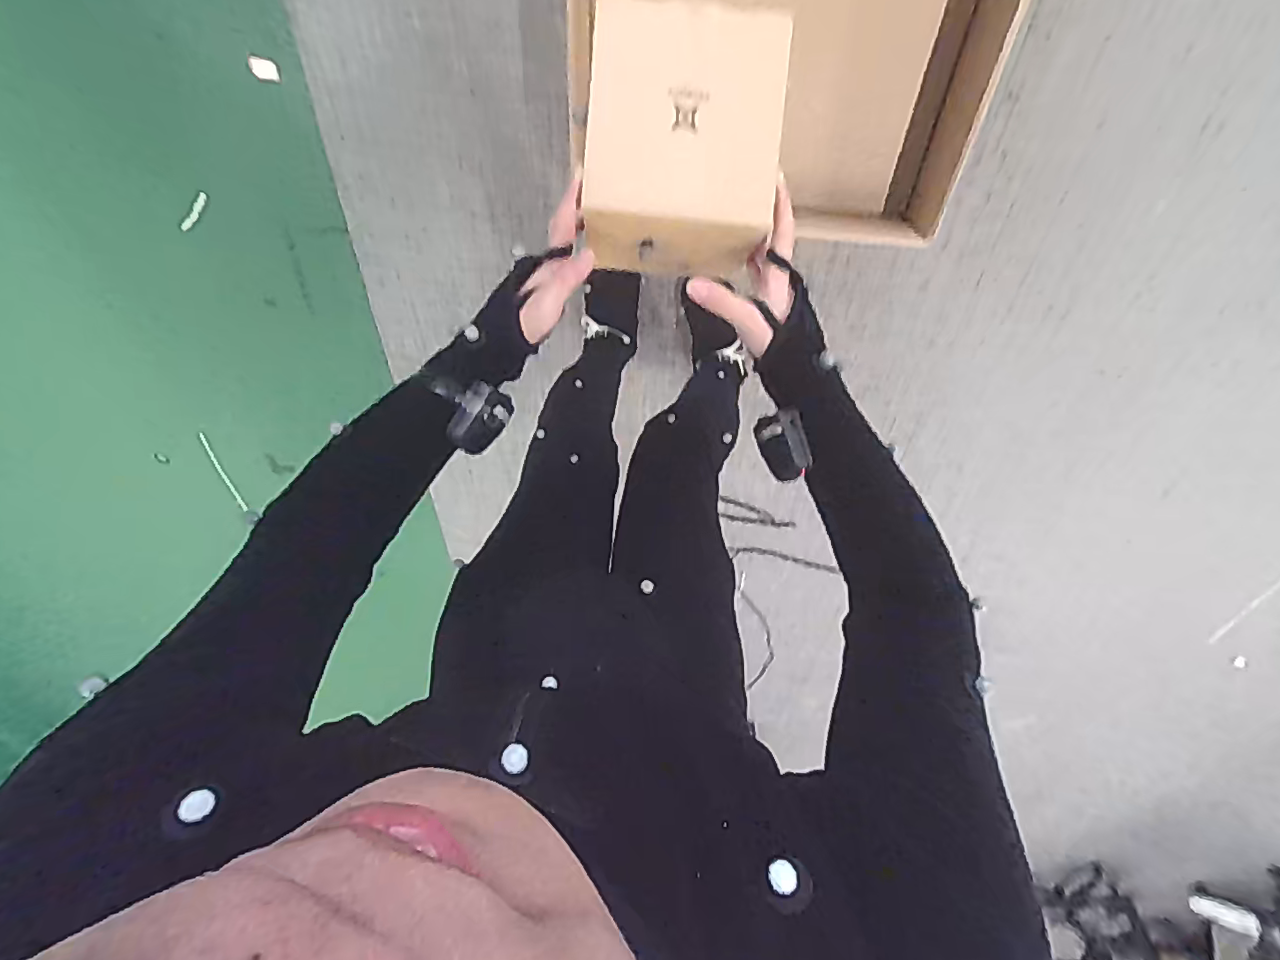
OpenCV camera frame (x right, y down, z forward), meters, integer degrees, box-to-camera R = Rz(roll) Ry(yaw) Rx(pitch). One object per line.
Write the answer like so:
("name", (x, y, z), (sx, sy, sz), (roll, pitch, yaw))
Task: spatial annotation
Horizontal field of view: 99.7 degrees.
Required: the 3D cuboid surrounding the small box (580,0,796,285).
("small box", (0.038, -0.302, 0.525), (0.168, 0.176, 0.179), (5, 93, -2))
